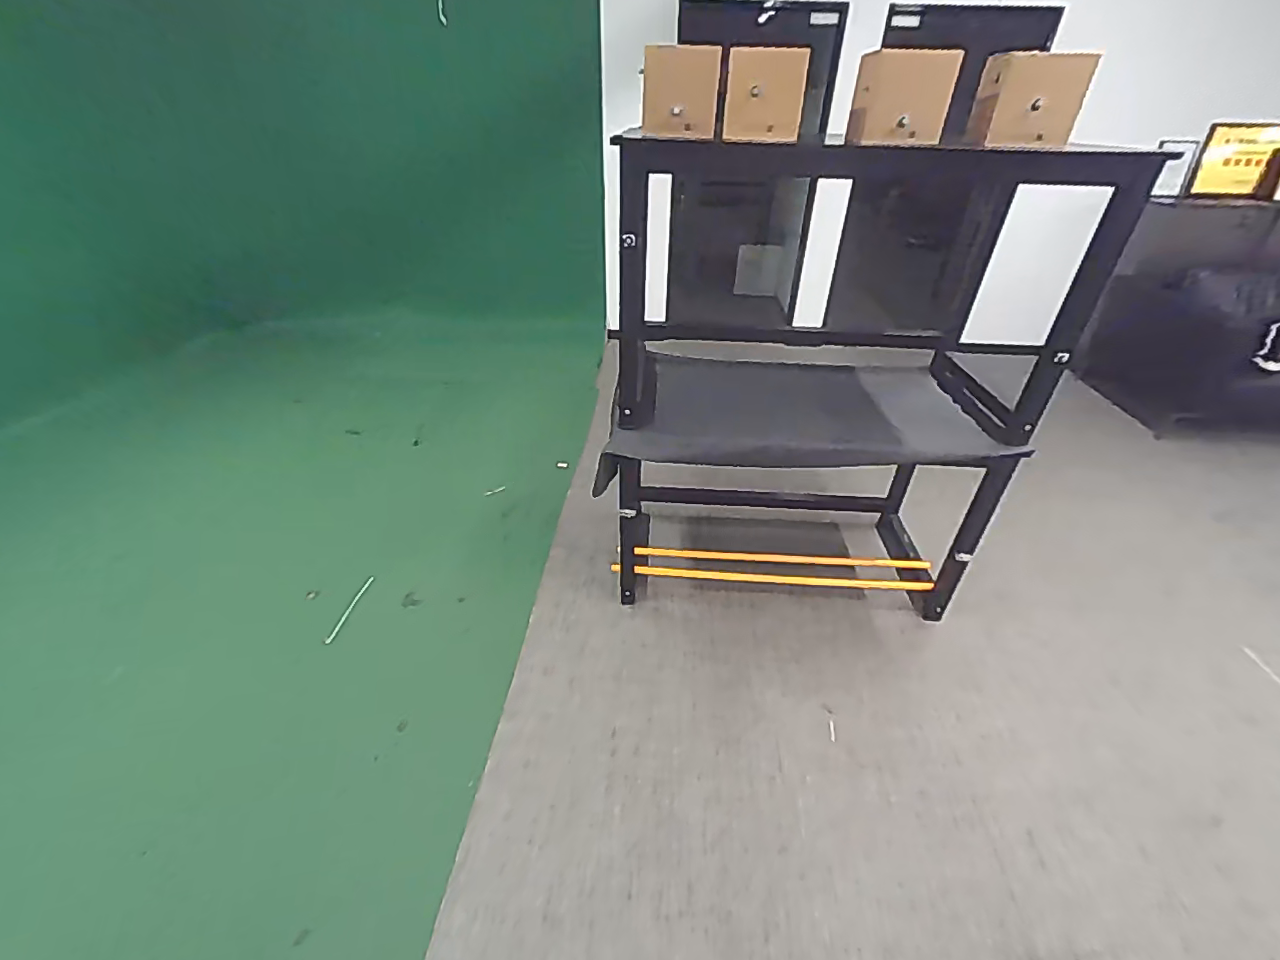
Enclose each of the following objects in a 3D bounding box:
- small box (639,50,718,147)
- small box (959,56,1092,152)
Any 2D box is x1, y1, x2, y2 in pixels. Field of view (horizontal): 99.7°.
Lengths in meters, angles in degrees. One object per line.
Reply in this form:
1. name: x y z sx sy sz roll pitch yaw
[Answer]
1. small box: 0.084 -0.883 1.259 0.168 0.176 0.179 2 35 0
2. small box: 0.844 -0.833 1.206 0.168 0.176 0.179 8 34 9
